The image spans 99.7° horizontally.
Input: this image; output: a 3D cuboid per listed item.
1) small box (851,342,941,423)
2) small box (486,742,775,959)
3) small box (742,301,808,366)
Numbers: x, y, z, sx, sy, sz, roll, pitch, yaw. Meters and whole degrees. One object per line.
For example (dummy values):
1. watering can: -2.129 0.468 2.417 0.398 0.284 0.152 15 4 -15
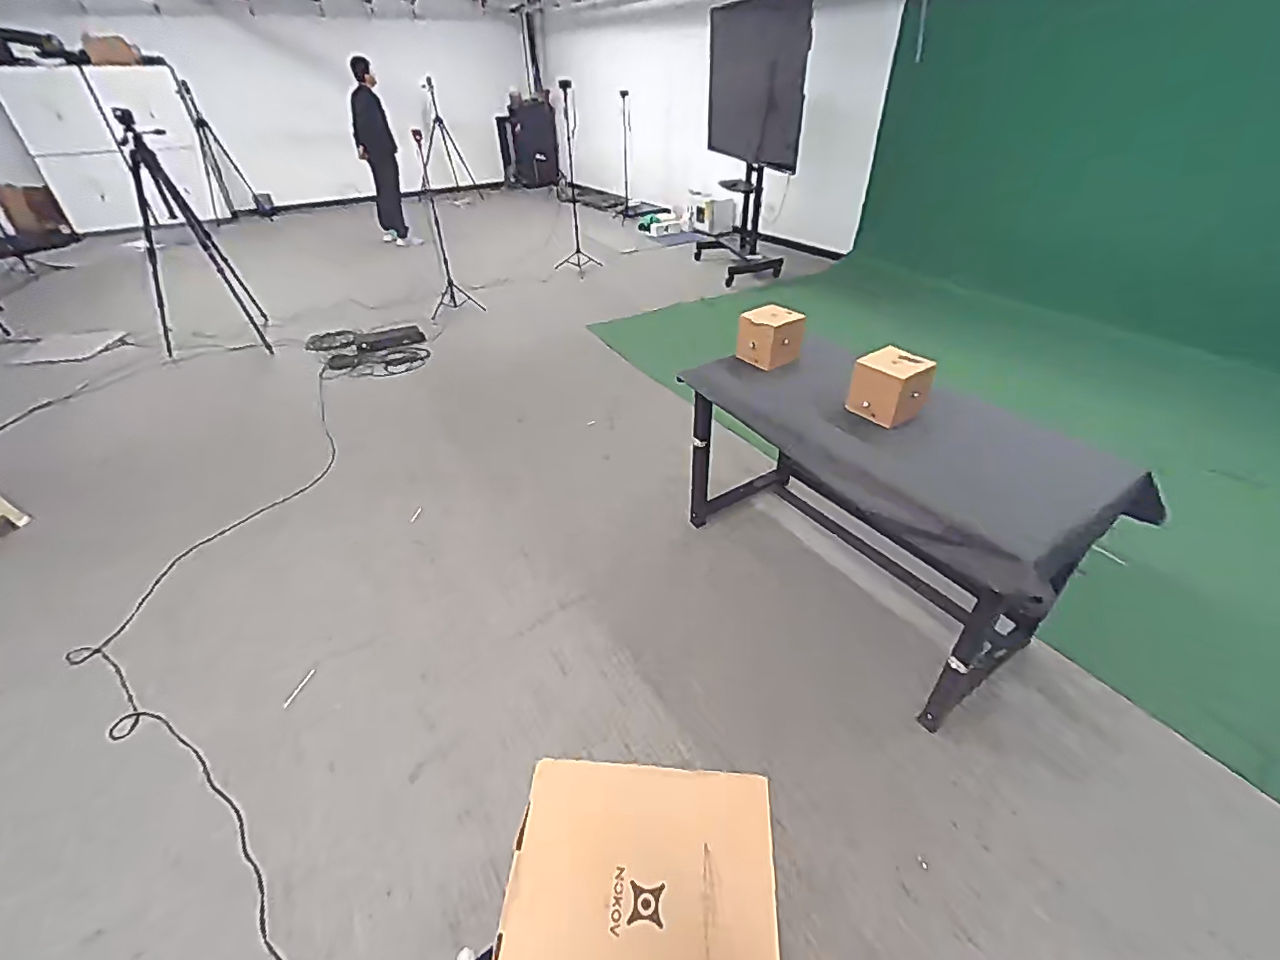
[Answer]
1. small box: 0.777 -0.300 1.660 0.179 0.176 0.168 -24 42 -26
2. small box: 0.000 0.315 0.405 0.179 0.176 0.168 2 46 4
3. small box: 0.491 -0.540 1.992 0.179 0.176 0.168 -26 44 -27
